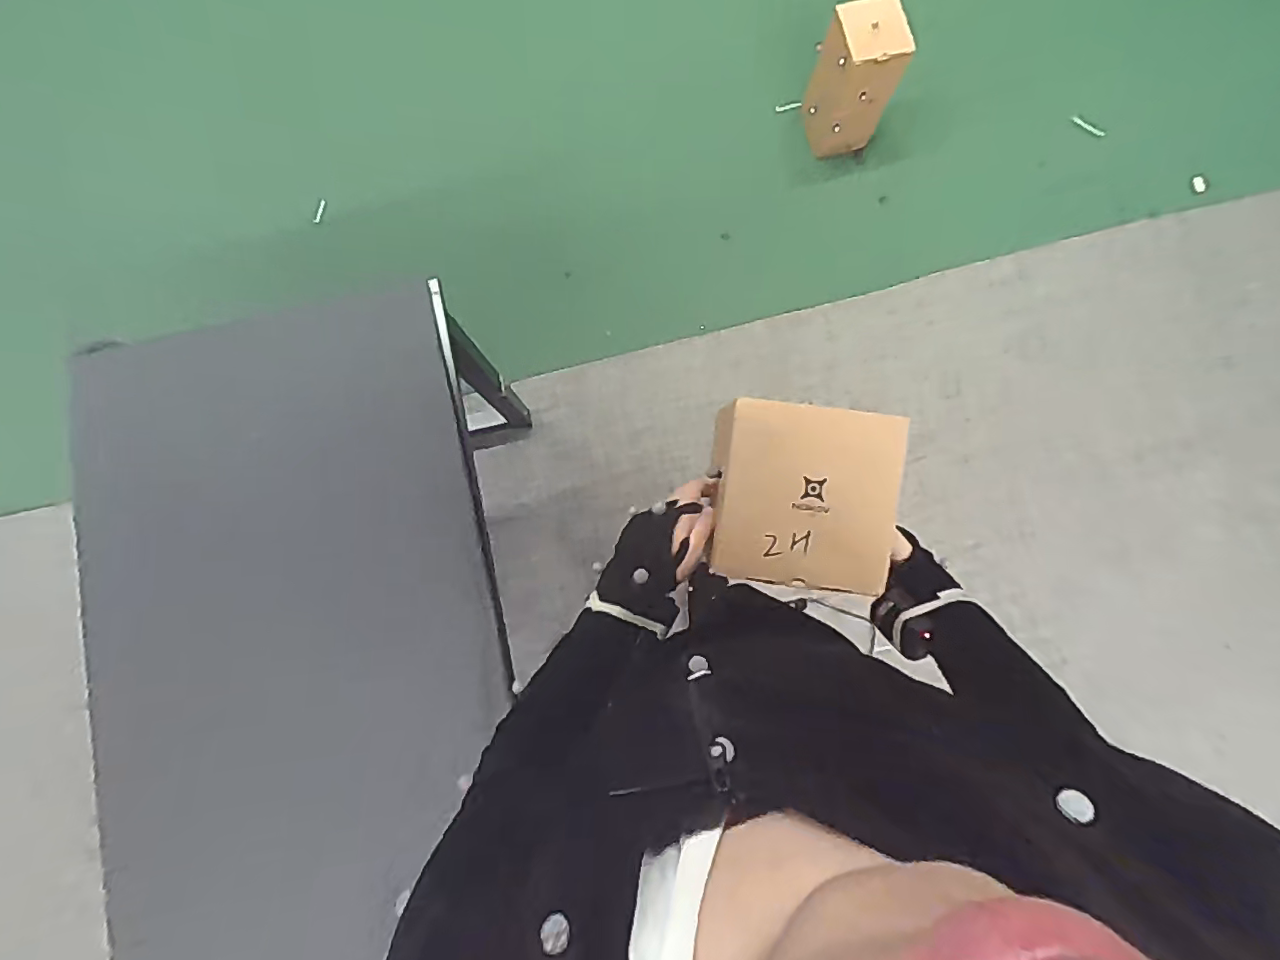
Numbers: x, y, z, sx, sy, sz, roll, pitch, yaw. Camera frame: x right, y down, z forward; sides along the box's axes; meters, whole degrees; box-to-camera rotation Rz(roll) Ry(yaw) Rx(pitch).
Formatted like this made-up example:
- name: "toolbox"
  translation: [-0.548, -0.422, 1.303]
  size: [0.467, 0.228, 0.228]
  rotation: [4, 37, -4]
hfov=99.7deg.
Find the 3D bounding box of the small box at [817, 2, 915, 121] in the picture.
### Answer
- name: "small box"
  translation: [0.595, -1.113, 1.446]
  size: [0.168, 0.176, 0.179]
  rotation: [-13, 81, -1]
